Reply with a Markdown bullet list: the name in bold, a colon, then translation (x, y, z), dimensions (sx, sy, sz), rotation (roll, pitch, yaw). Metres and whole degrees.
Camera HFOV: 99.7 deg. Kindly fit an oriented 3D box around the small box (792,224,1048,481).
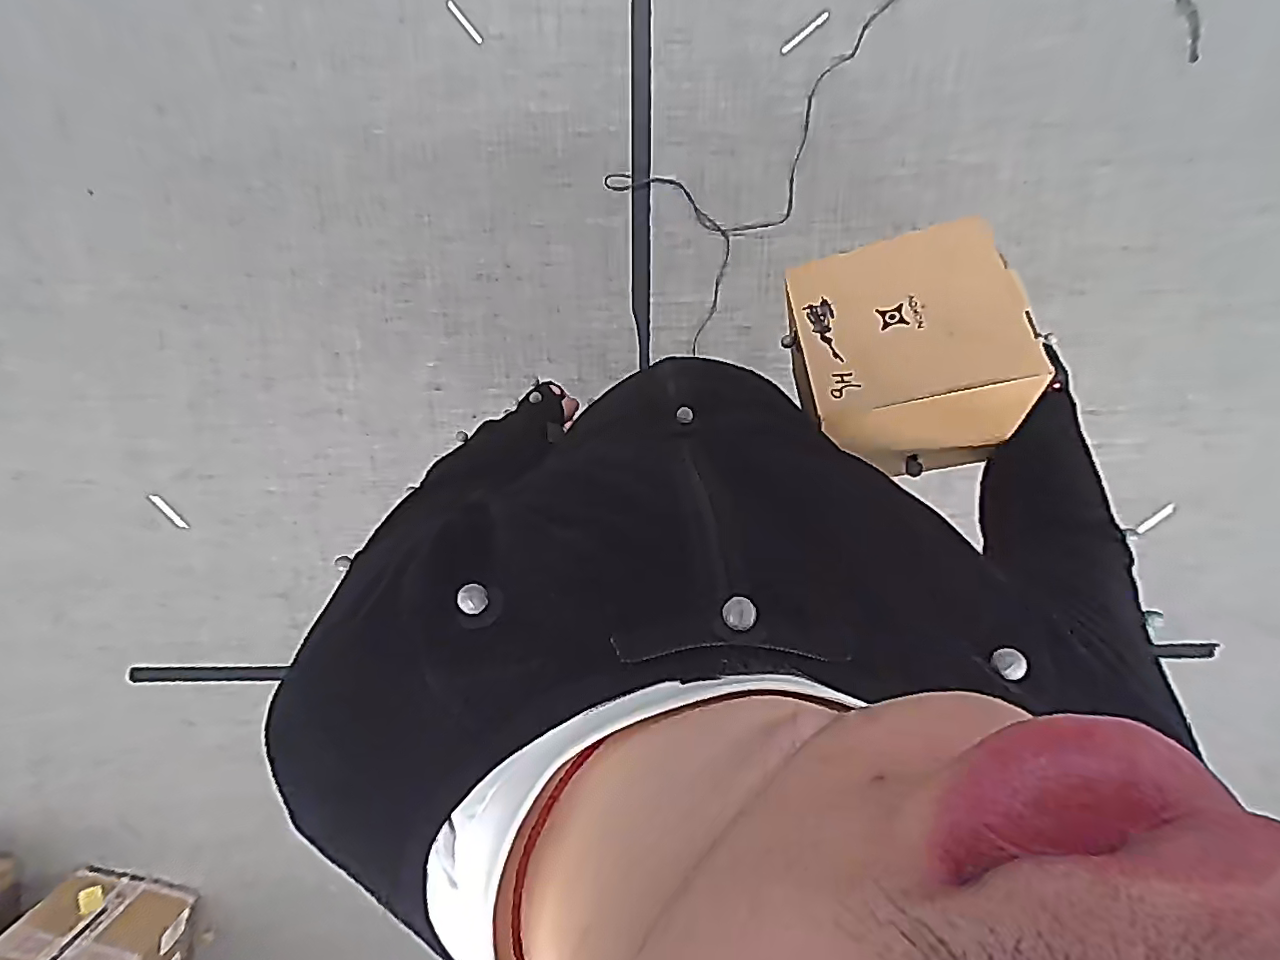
- **small box**: translation (0.258, -0.114, 0.547), dimensions (0.179, 0.176, 0.168), rotation (-11, 64, 14)
